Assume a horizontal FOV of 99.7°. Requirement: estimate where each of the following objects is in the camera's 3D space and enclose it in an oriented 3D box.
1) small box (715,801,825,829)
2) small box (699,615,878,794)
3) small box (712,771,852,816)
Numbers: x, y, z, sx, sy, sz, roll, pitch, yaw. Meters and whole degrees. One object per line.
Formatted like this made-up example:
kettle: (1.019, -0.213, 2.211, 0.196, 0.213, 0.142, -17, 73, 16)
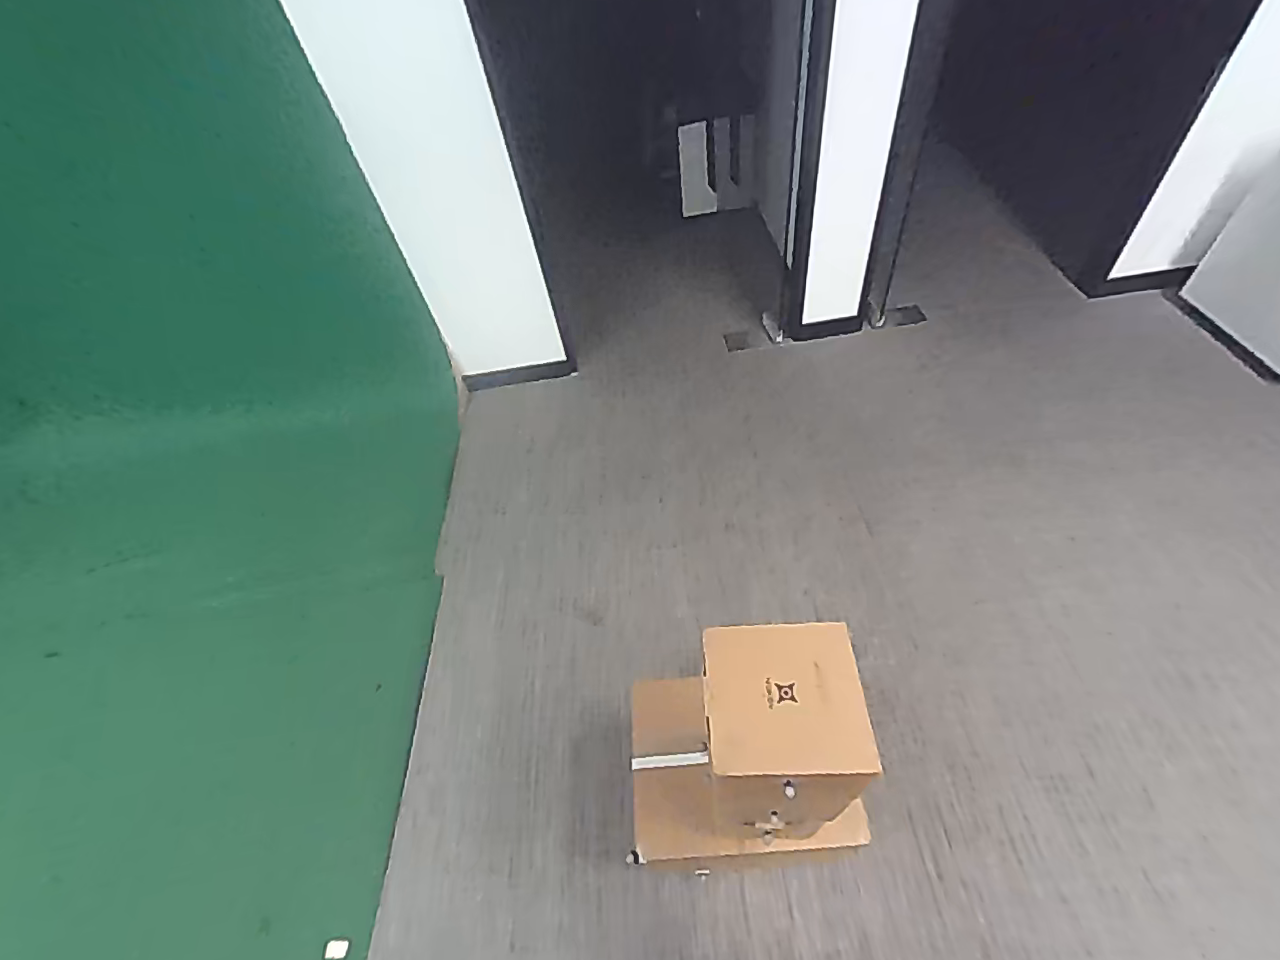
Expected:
small box: (0.211, 0.488, 0.925, 0.168, 0.176, 0.179, -5, 51, 7)
small box: (0.171, 0.284, 0.673, 0.179, 0.176, 0.168, -5, 51, 6)
small box: (0.193, 0.387, 0.796, 0.179, 0.176, 0.168, -6, 50, 7)
